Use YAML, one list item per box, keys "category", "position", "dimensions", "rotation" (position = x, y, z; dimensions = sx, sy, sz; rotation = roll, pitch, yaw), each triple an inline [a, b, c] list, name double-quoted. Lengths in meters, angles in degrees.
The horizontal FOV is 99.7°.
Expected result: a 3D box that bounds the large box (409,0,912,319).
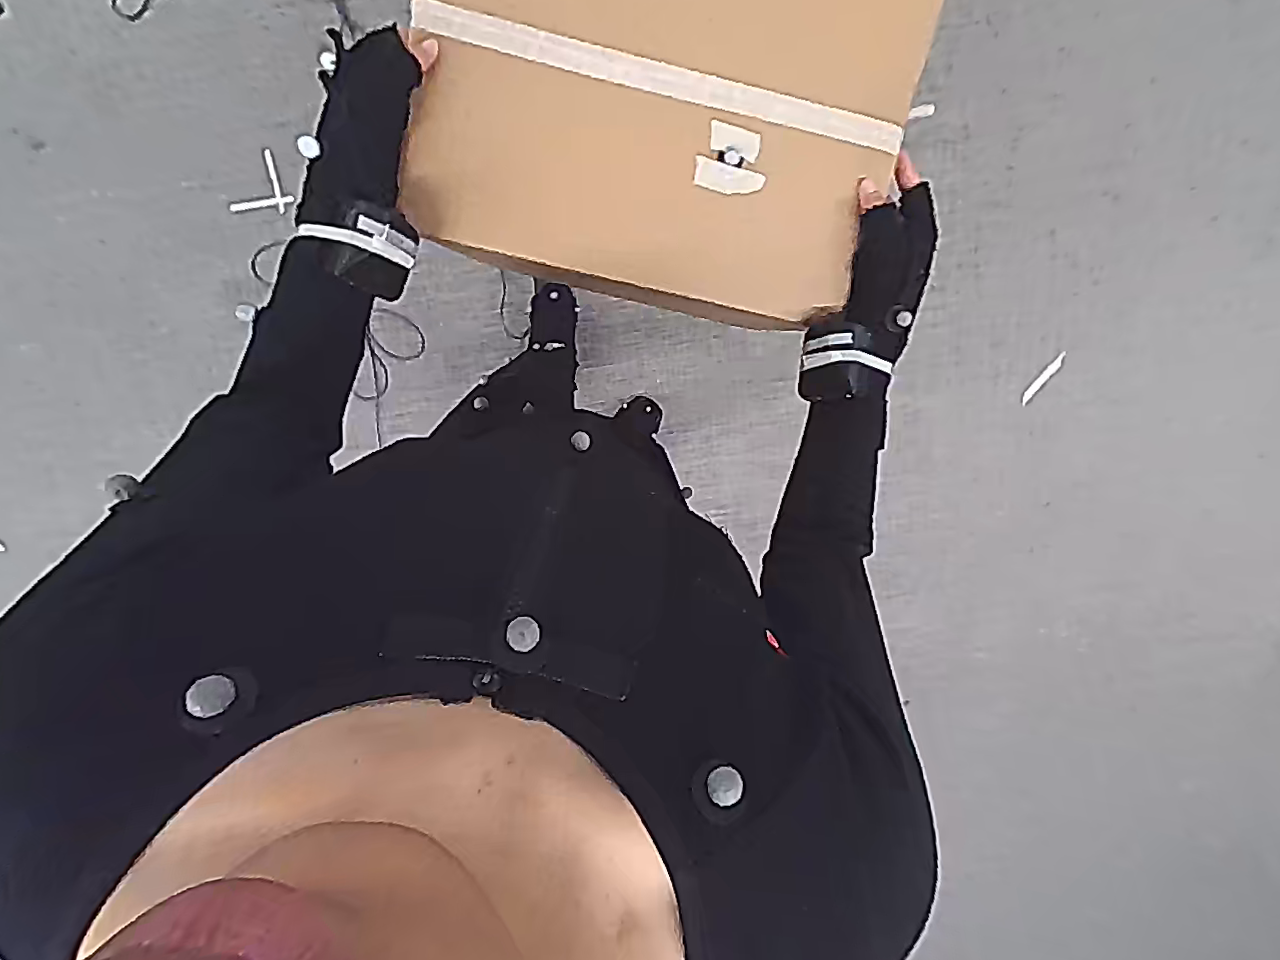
- category: "large box"
  position: [0.006, -0.373, 0.602]
  dimensions: [0.408, 0.320, 0.320]
  rotation: [10, 106, -5]
